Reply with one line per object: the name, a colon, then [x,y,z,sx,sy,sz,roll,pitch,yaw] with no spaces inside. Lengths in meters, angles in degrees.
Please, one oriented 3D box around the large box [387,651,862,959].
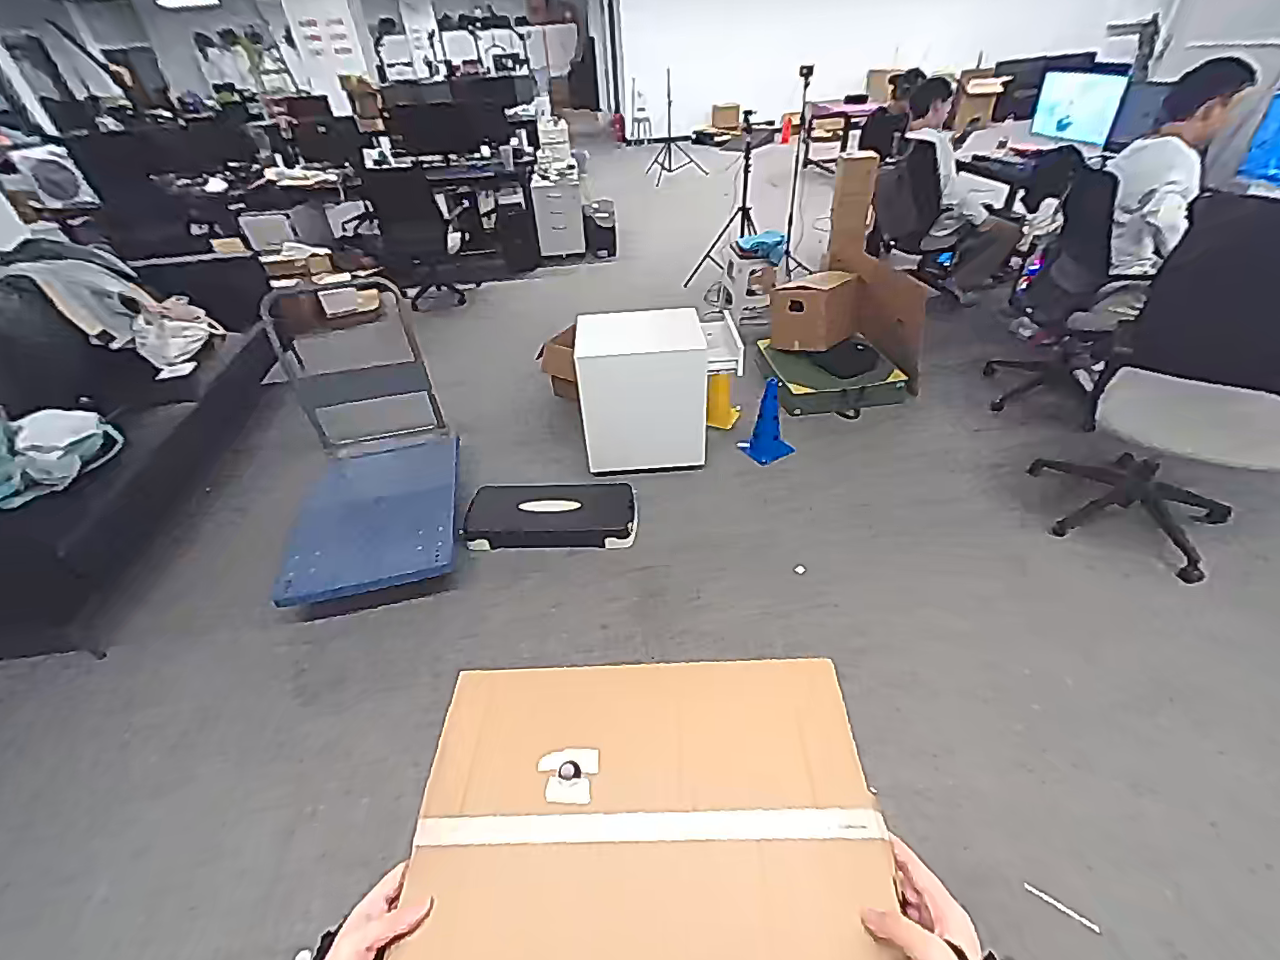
large box: [0.018,0.403,0.610,0.408,0.320,0.320,1,57,15]
